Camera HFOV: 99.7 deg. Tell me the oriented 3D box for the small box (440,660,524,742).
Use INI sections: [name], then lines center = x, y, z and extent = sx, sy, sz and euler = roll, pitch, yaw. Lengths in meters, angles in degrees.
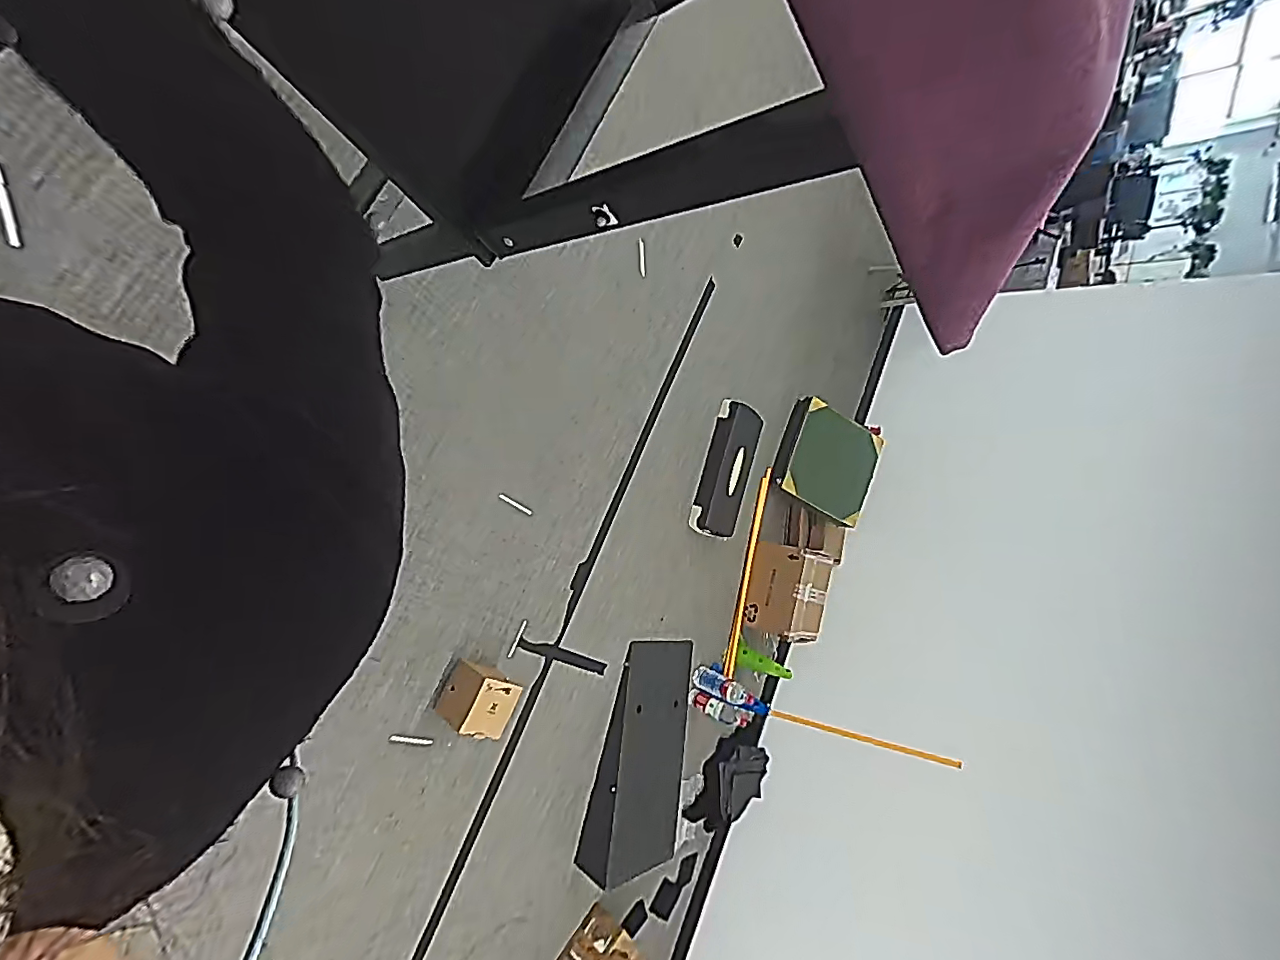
[small box]
center = -0.516, 0.710, 1.743
extent = 0.168, 0.176, 0.179
euler = 40, 70, -45
